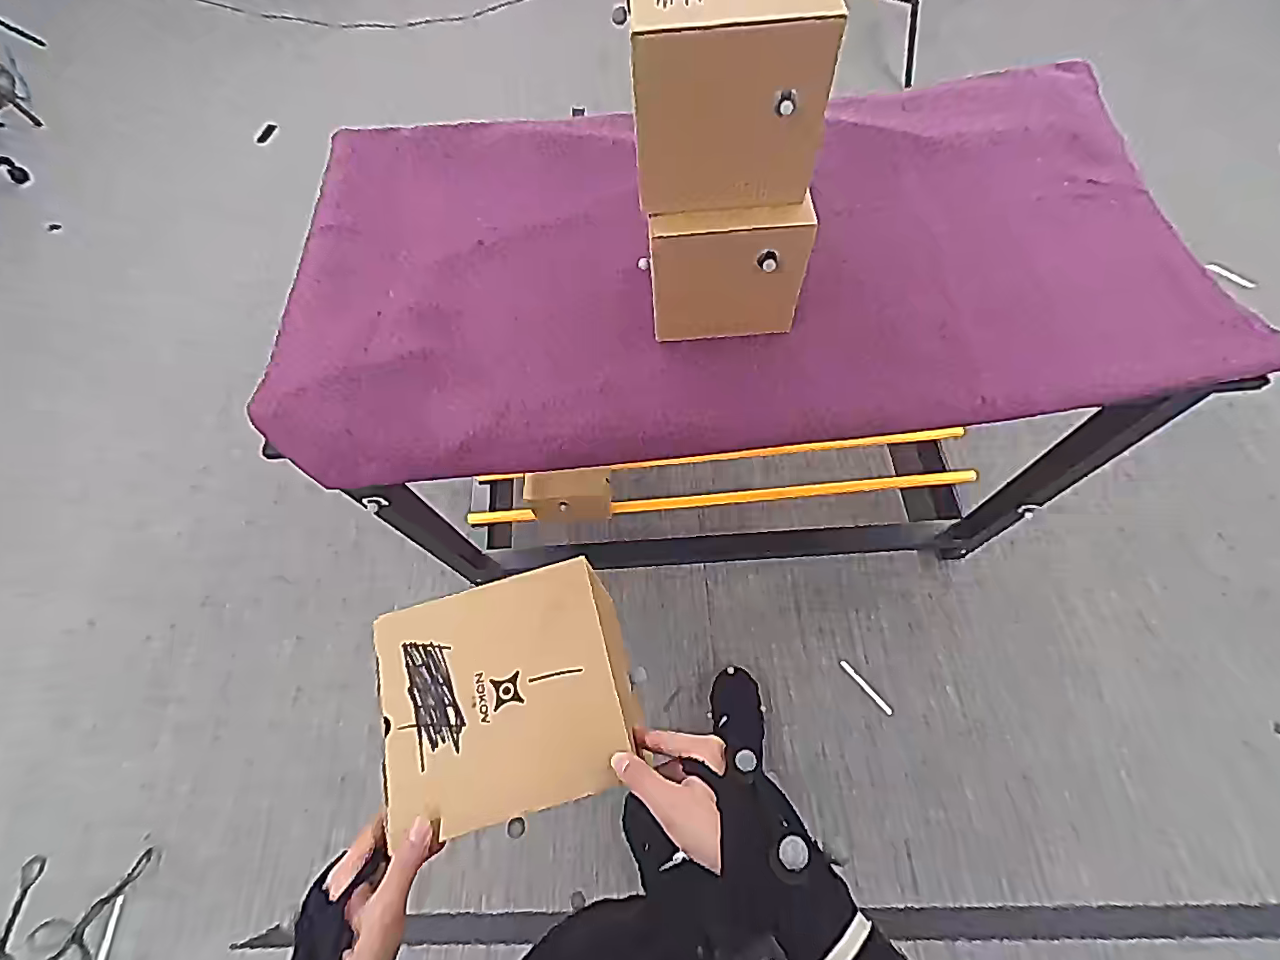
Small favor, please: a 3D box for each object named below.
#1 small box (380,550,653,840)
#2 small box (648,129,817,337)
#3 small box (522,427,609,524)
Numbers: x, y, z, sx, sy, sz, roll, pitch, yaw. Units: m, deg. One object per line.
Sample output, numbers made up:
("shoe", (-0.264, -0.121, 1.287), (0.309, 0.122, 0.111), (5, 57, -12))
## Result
("small box", (-0.095, 0.182, 0.466), (0.179, 0.176, 0.168), (-16, 65, -3))
("small box", (0.100, -0.298, 0.672), (0.179, 0.176, 0.168), (-3, 63, 2))
("small box", (-0.164, -0.006, 1.242), (0.179, 0.176, 0.168), (-5, 66, 2))
